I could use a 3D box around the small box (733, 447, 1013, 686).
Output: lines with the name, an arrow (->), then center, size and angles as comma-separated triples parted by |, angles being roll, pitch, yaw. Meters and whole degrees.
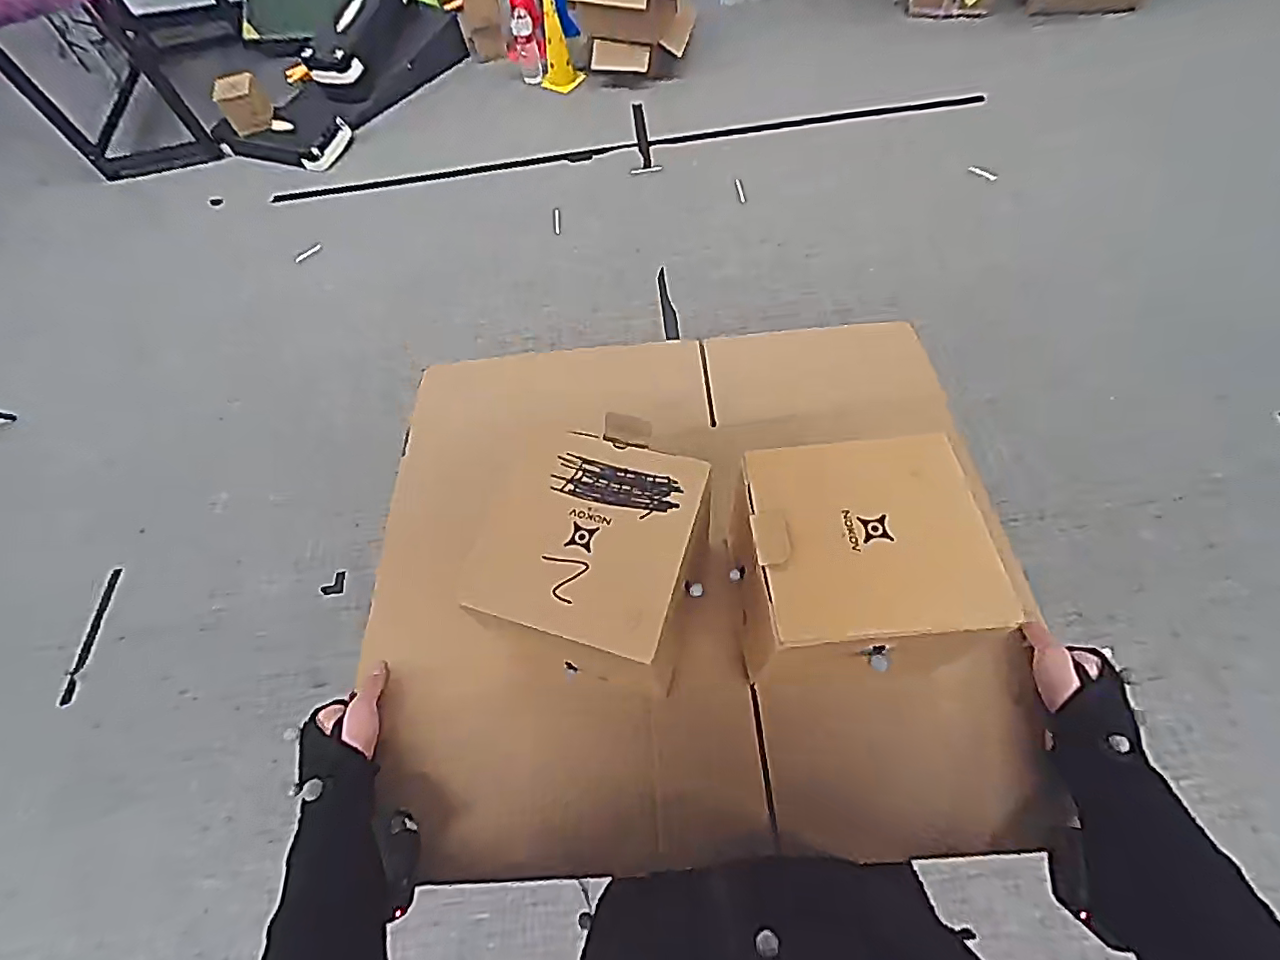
small box -> 0.189, 0.088, 0.505 | 0.179, 0.176, 0.168 | -6, 59, 3
